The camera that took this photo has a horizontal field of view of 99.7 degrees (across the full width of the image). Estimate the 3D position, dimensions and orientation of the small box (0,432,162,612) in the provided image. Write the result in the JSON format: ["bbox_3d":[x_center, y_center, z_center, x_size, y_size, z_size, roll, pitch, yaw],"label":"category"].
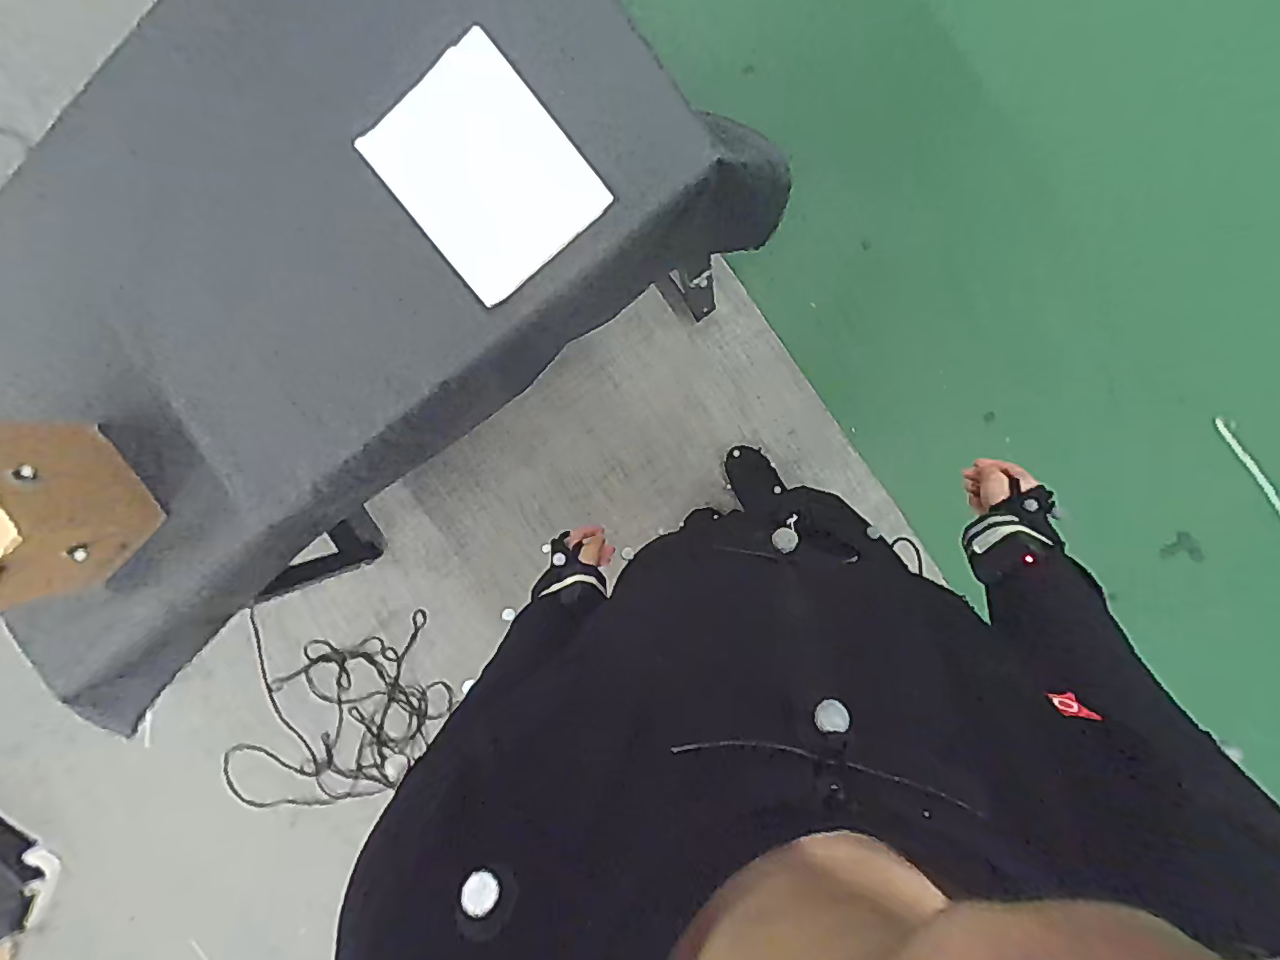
[{"bbox_3d":[-0.780,0.048,0.690,0.168,0.176,0.179,-41,86,8],"label":"small box"}]
